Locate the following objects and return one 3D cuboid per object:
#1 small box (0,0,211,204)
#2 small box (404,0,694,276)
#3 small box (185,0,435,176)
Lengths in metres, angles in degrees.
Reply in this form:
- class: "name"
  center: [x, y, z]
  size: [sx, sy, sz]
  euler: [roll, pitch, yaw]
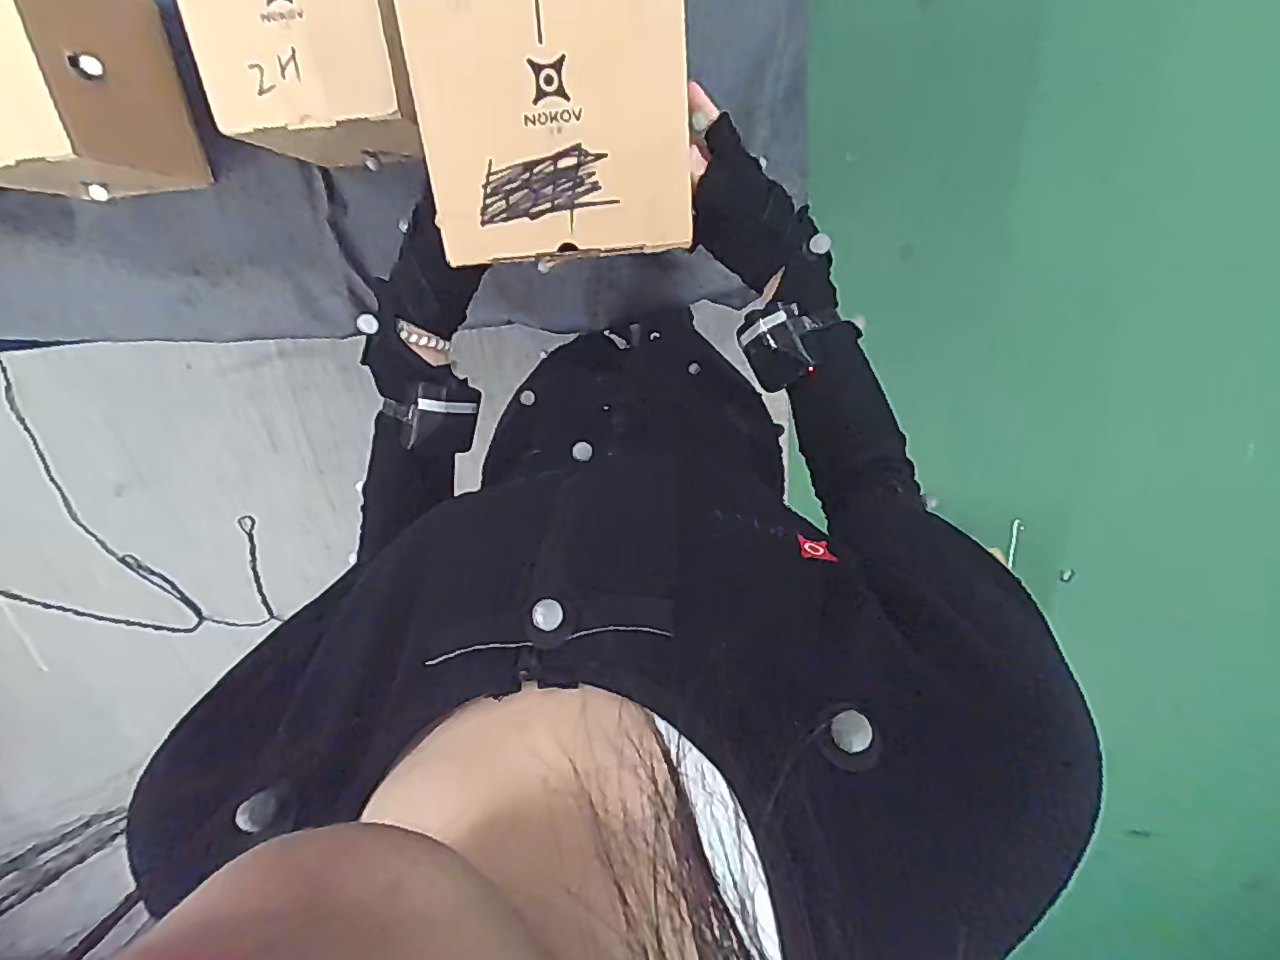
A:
- class: "small box"
  center: [-0.582, -0.383, 0.529]
  size: [0.168, 0.176, 0.179]
  euler: [-4, 111, 2]
- class: "small box"
  center: [-0.044, -0.253, 0.398]
  size: [0.168, 0.176, 0.179]
  euler: [-2, 113, 5]
- class: "small box"
  center: [-0.285, -0.408, 0.516]
  size: [0.168, 0.176, 0.179]
  euler: [-4, 111, 2]
